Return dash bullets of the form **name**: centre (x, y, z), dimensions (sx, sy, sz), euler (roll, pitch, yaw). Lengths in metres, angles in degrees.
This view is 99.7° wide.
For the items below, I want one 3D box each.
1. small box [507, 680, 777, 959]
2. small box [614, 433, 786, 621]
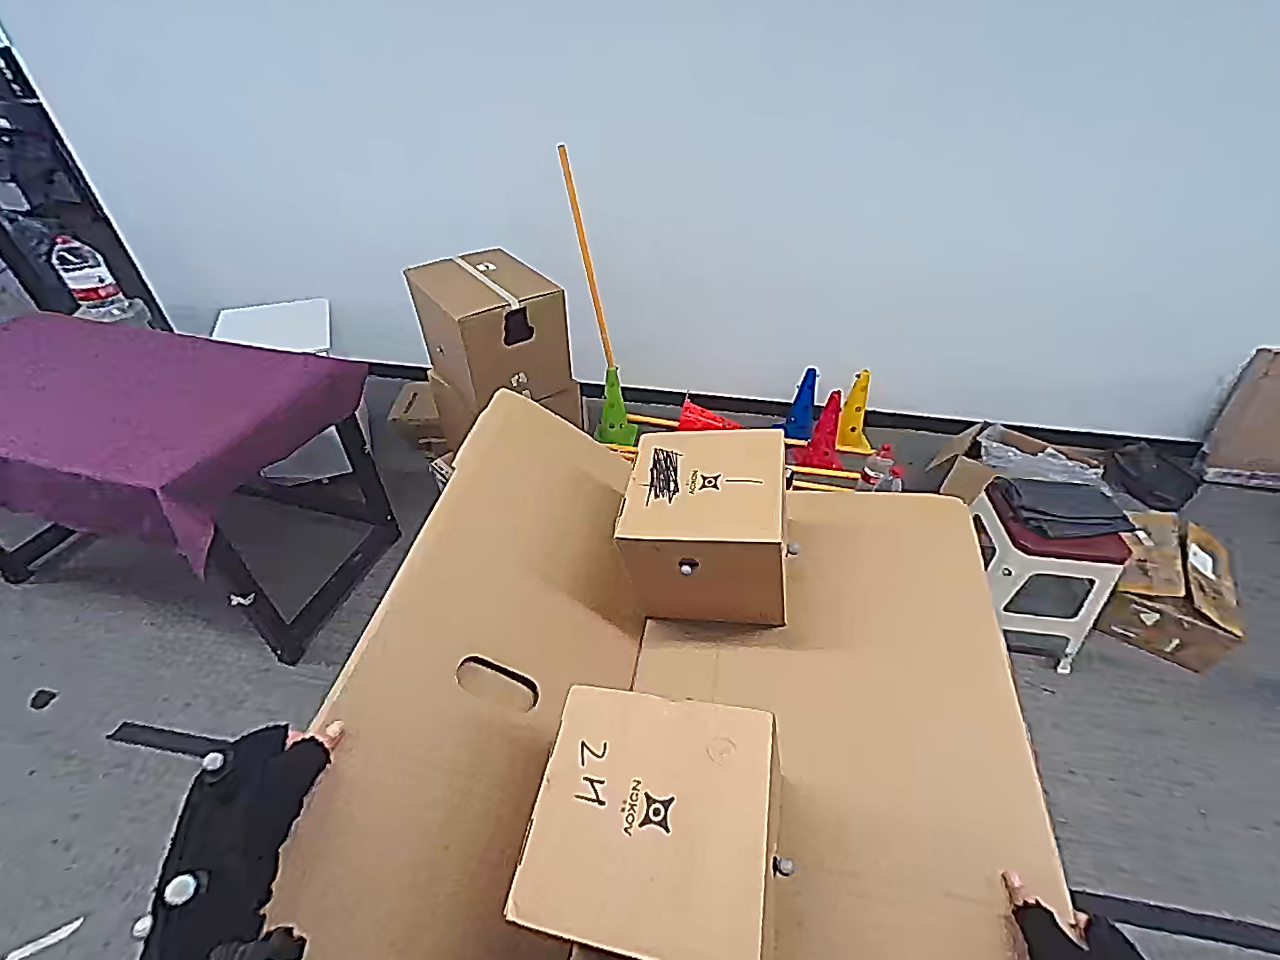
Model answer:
- **small box**: centre (0.022, 0.295, 0.465), dimensions (0.179, 0.176, 0.168), euler (1, 48, 19)
- **small box**: centre (0.086, 0.059, 0.670), dimensions (0.179, 0.176, 0.168), euler (0, 48, 17)
